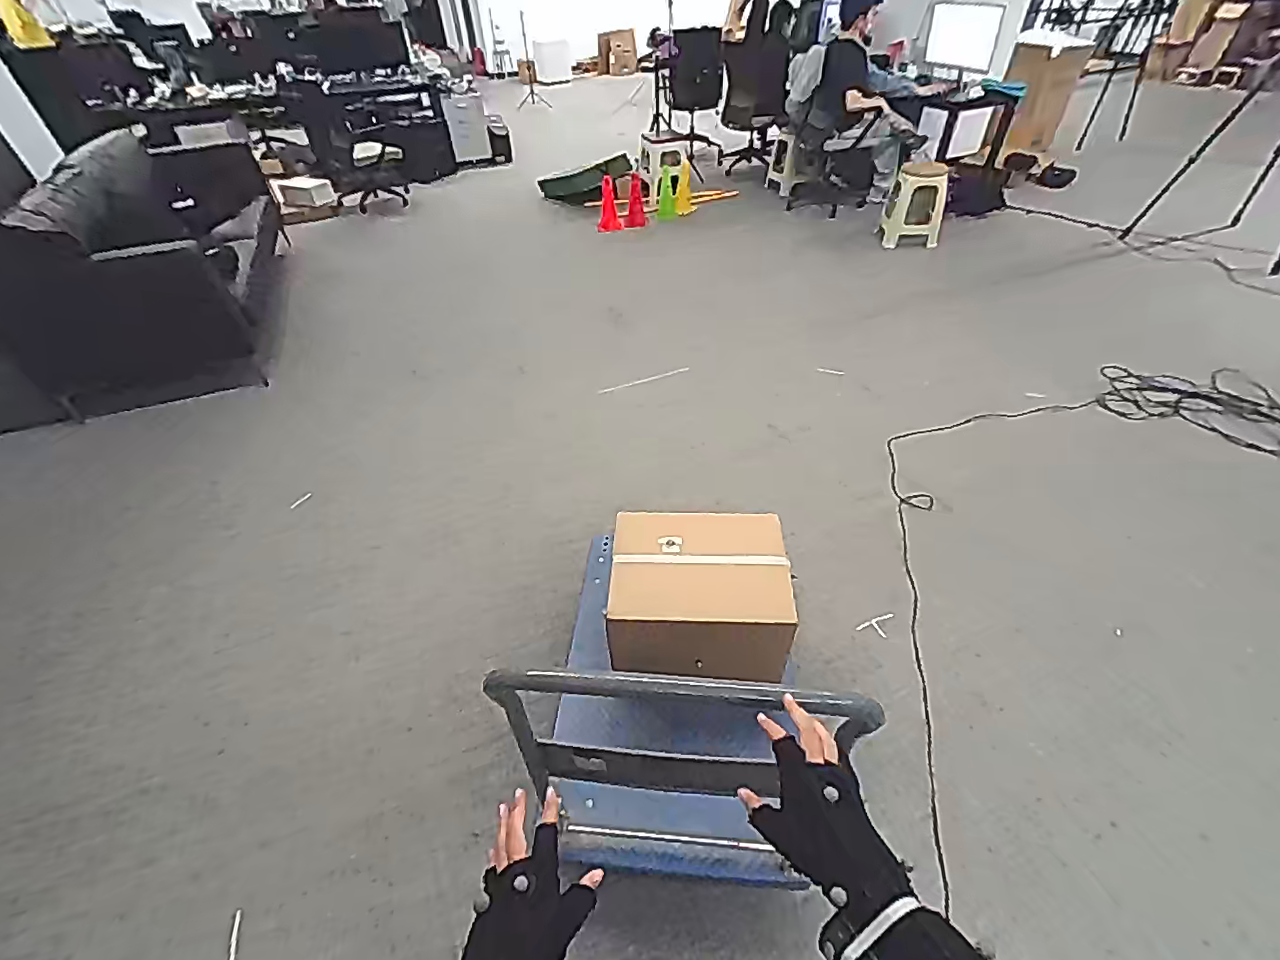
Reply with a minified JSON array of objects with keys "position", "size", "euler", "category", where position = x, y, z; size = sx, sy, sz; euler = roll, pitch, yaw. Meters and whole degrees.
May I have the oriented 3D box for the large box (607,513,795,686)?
[{"position":[0.145,0.299,1.347],"size":[0.408,0.320,0.320],"euler":[0,43,5],"category":"large box"}]
